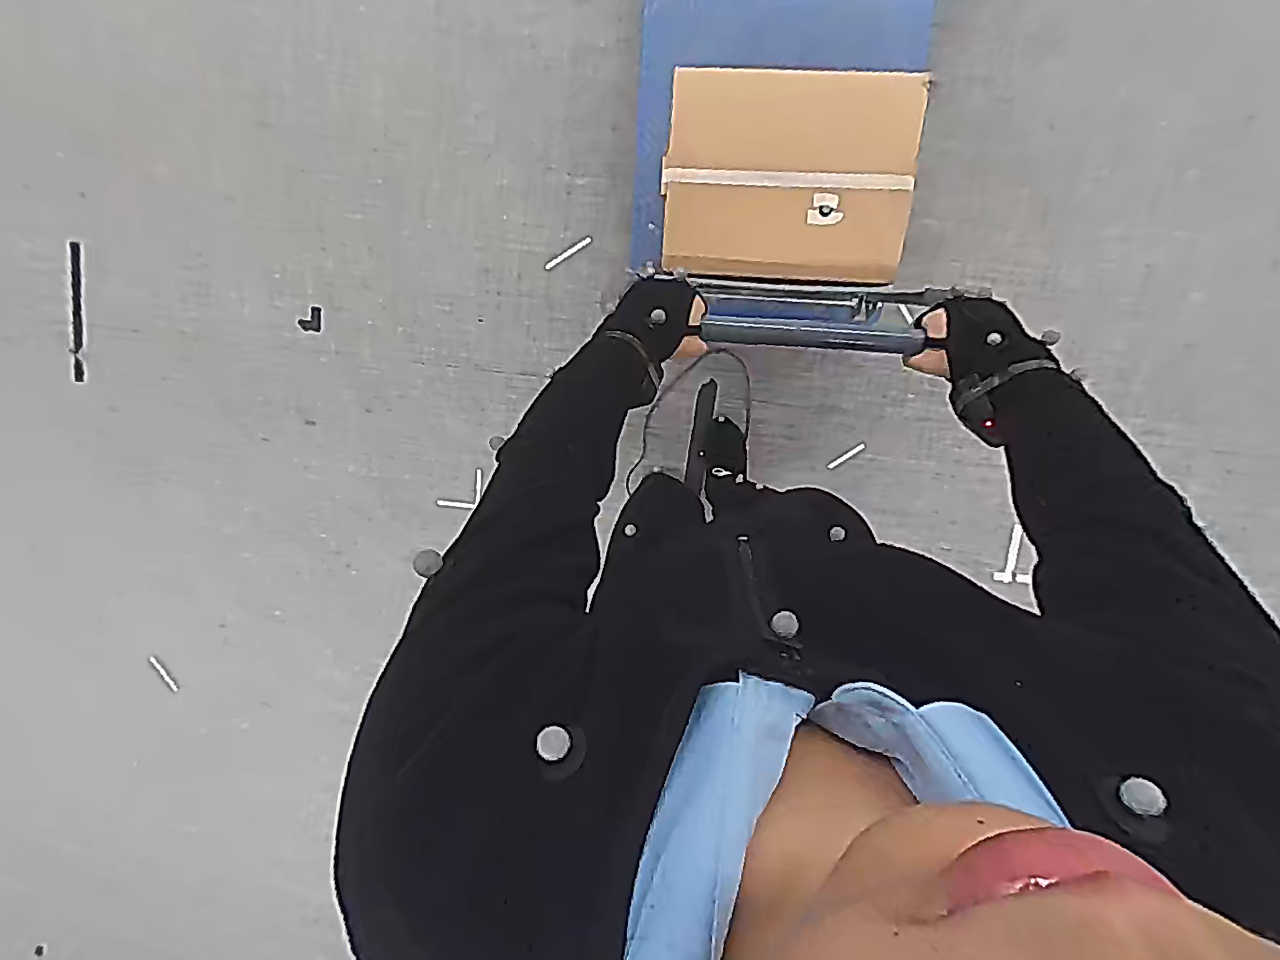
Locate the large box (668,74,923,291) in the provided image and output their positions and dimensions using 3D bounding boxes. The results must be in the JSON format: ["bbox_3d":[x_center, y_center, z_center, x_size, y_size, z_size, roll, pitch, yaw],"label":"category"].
[{"bbox_3d":[0.262,-0.549,1.061,0.408,0.320,0.320,4,107,4],"label":"large box"}]
